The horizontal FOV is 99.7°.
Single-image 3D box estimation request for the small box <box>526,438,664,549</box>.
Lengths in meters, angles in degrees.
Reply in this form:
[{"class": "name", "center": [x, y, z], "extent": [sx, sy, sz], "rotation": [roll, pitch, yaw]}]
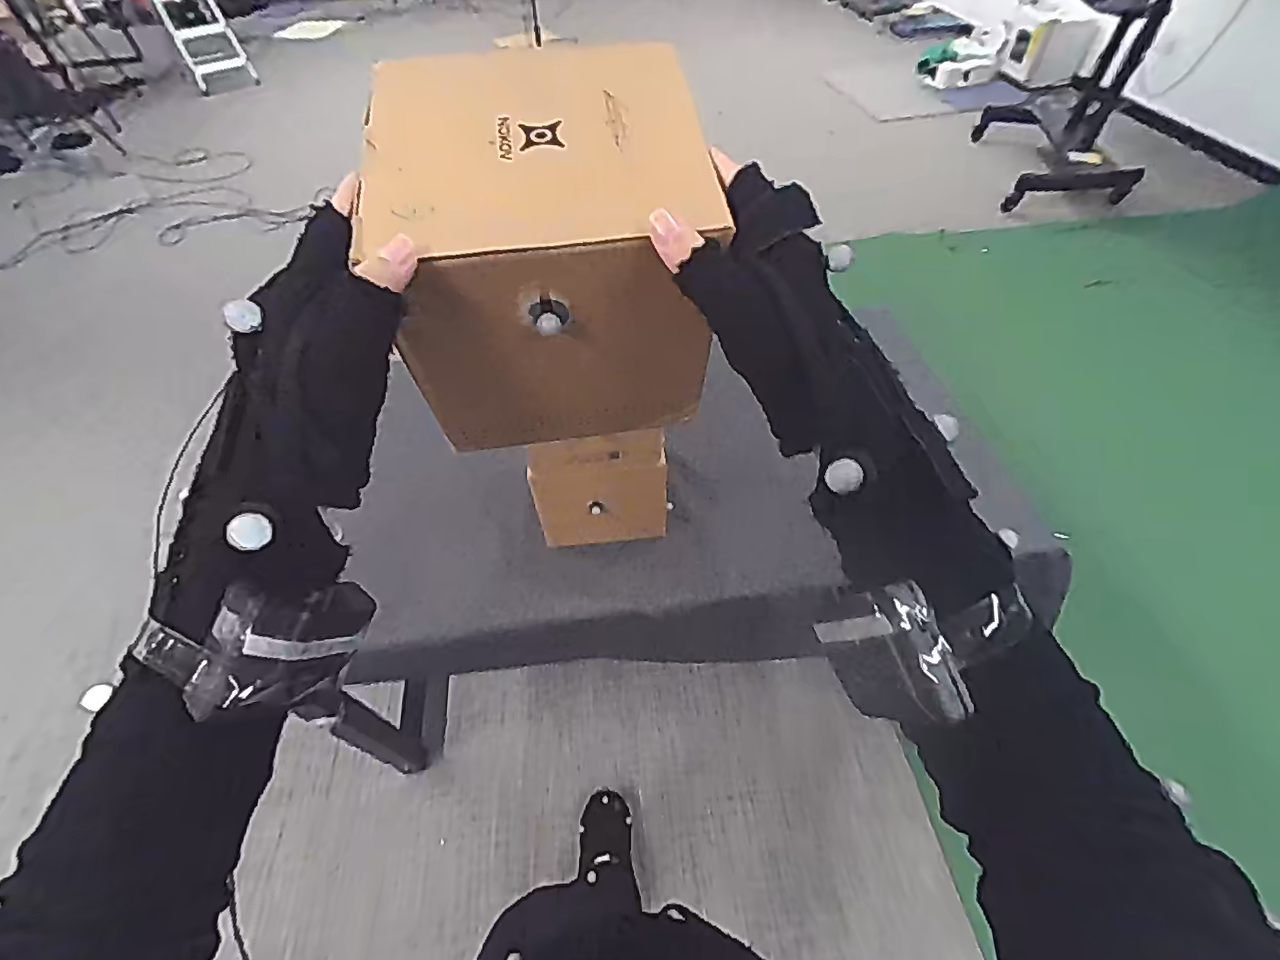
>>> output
[{"class": "small box", "center": [-0.061, -0.017, 0.786], "extent": [0.179, 0.176, 0.168], "rotation": [-6, 51, -2]}]
